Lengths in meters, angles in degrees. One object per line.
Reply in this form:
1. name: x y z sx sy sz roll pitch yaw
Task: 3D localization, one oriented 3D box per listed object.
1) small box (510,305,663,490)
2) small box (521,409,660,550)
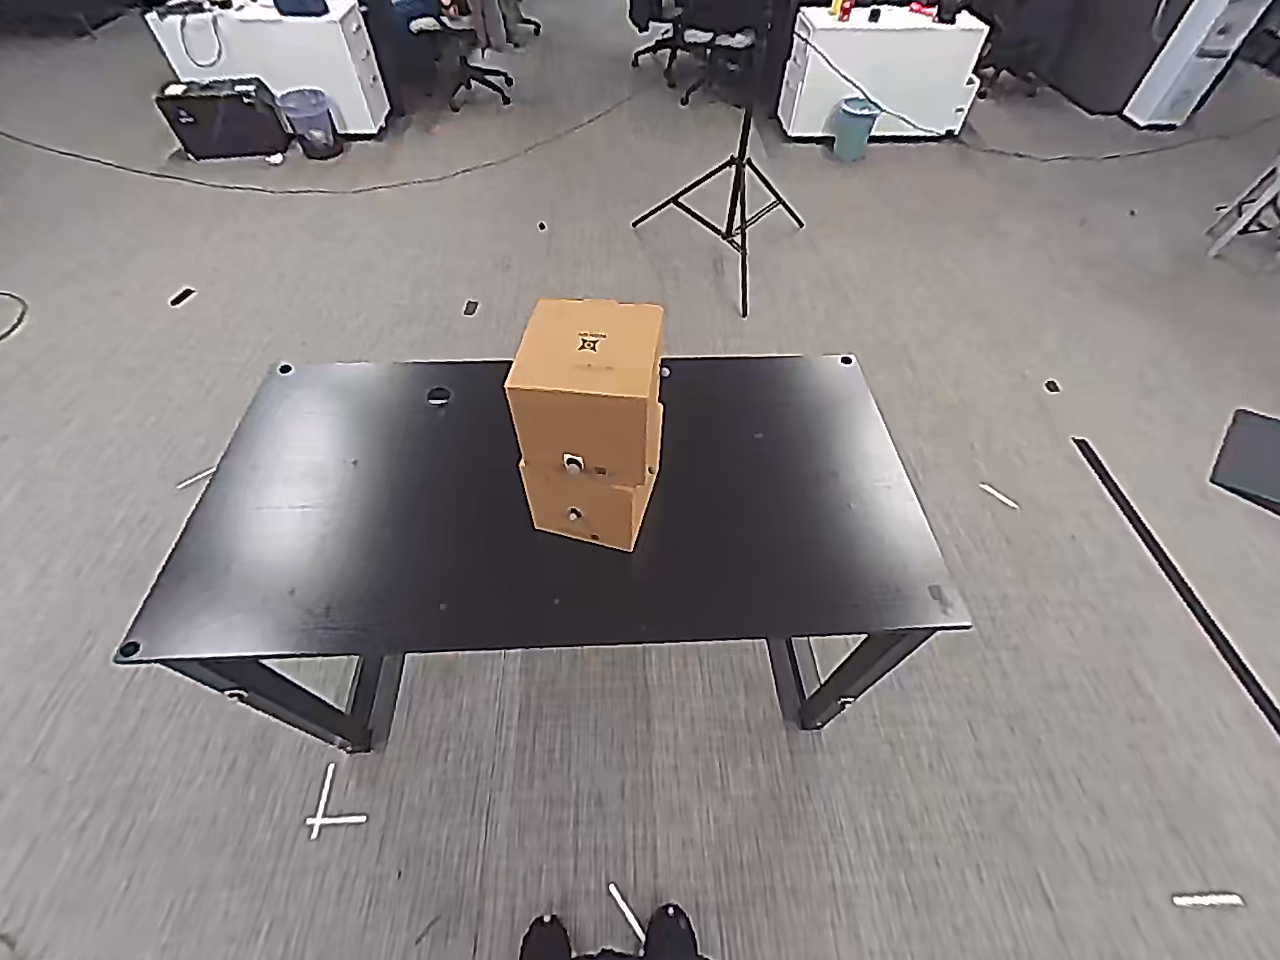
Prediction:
1. small box: -0.061 -0.109 0.729 0.168 0.176 0.179 5 54 4
2. small box: -0.068 -0.012 0.859 0.168 0.176 0.179 13 53 8
